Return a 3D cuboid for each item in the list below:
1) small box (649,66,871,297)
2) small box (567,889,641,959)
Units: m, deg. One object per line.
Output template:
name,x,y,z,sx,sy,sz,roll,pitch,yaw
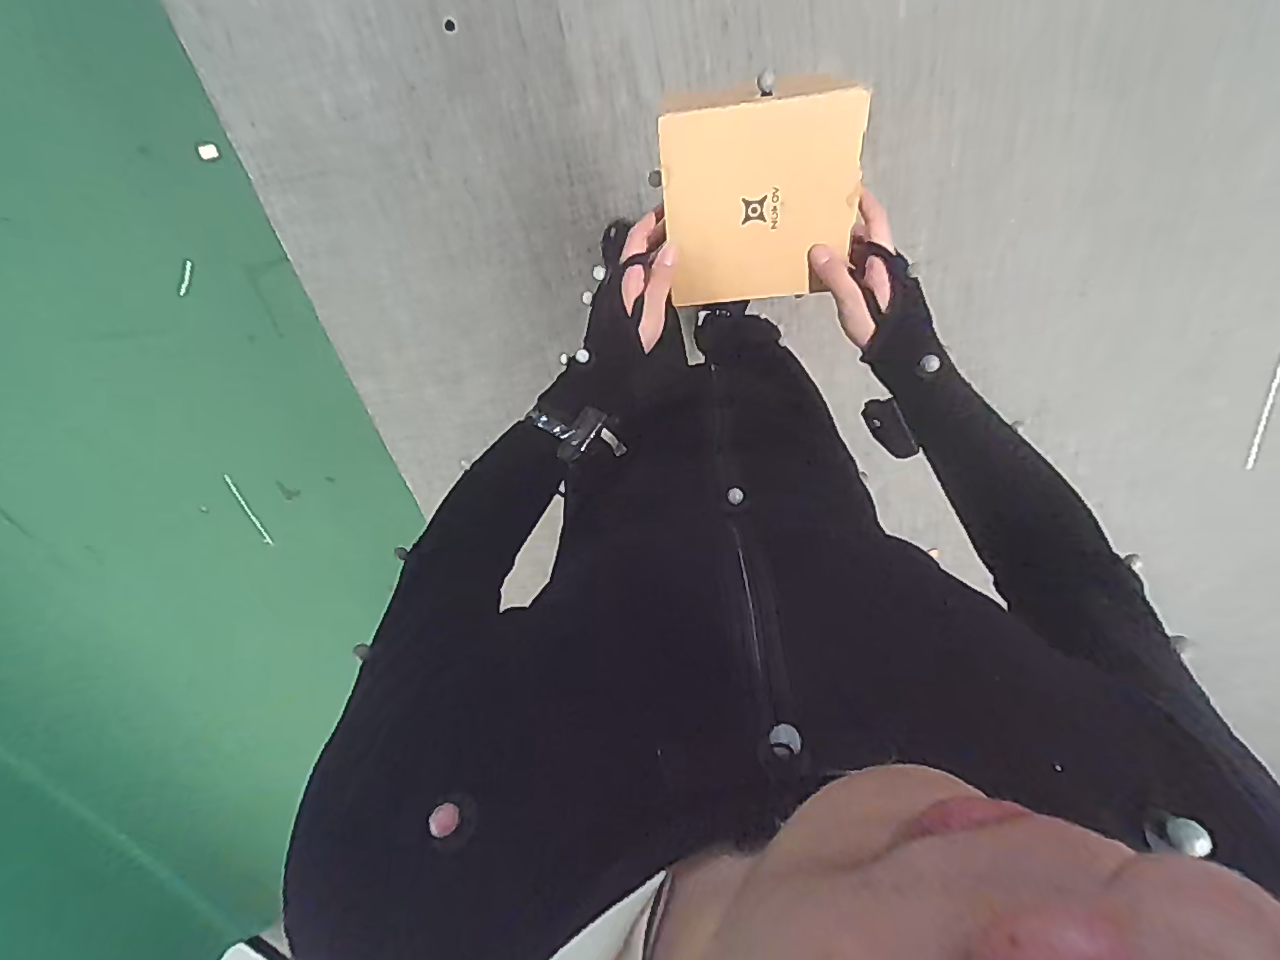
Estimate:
small box,0.107,-0.299,0.539,0.179,0.176,0.168,-4,129,6
small box,-0.100,1.325,1.590,0.168,0.176,0.179,-9,120,12
